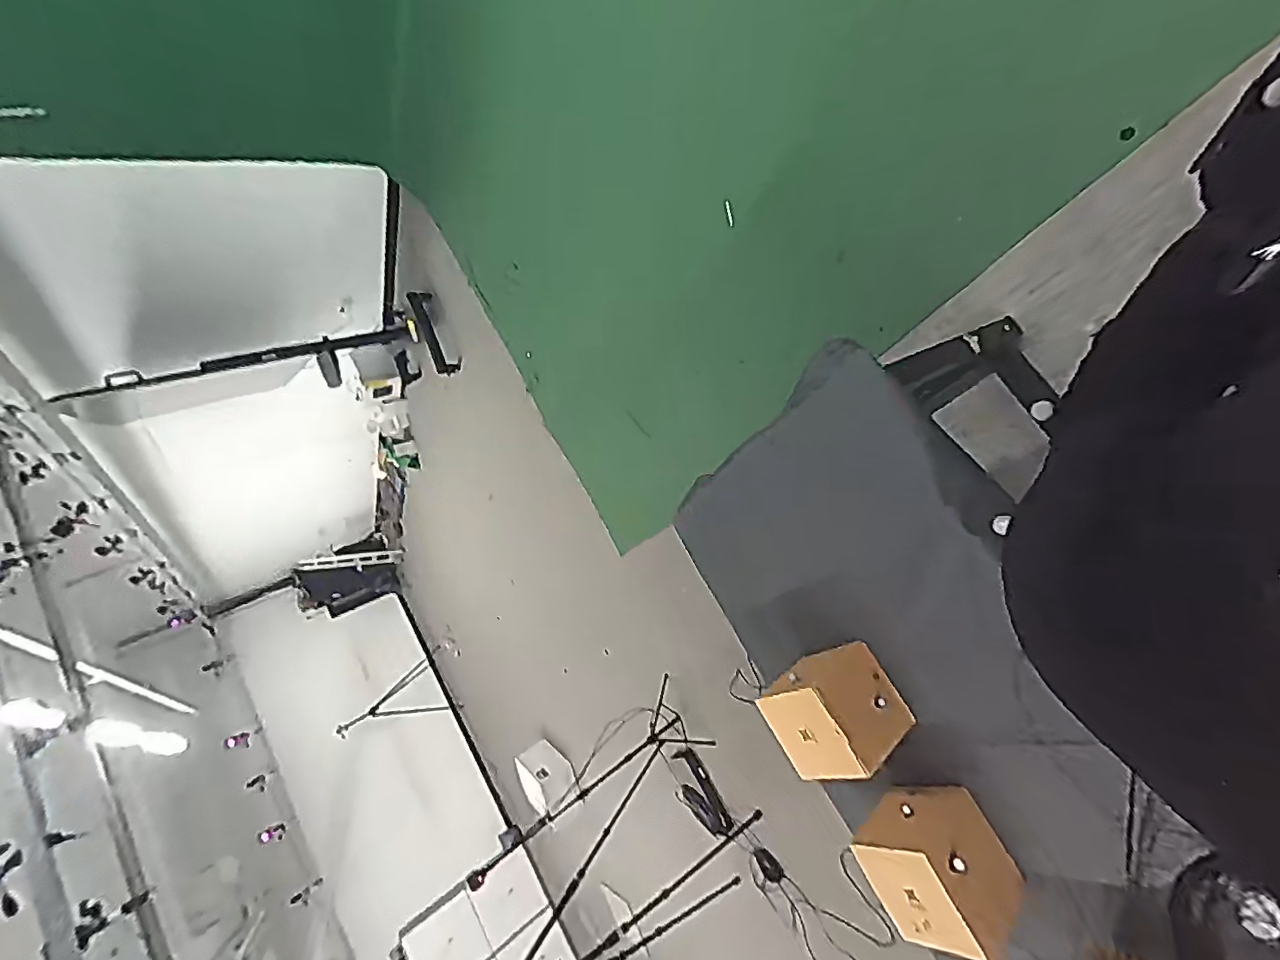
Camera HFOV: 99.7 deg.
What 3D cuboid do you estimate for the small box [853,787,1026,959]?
[{"bbox_3d":[0.520,0.665,0.942,0.179,0.176,0.168,59,144,11],"label":"small box"}]

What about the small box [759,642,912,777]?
[{"bbox_3d":[0.367,0.432,1.020,0.168,0.176,0.179,58,143,13],"label":"small box"}]

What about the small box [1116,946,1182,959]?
[{"bbox_3d":[0.745,0.766,0.701,0.179,0.176,0.168,58,145,12],"label":"small box"}]
